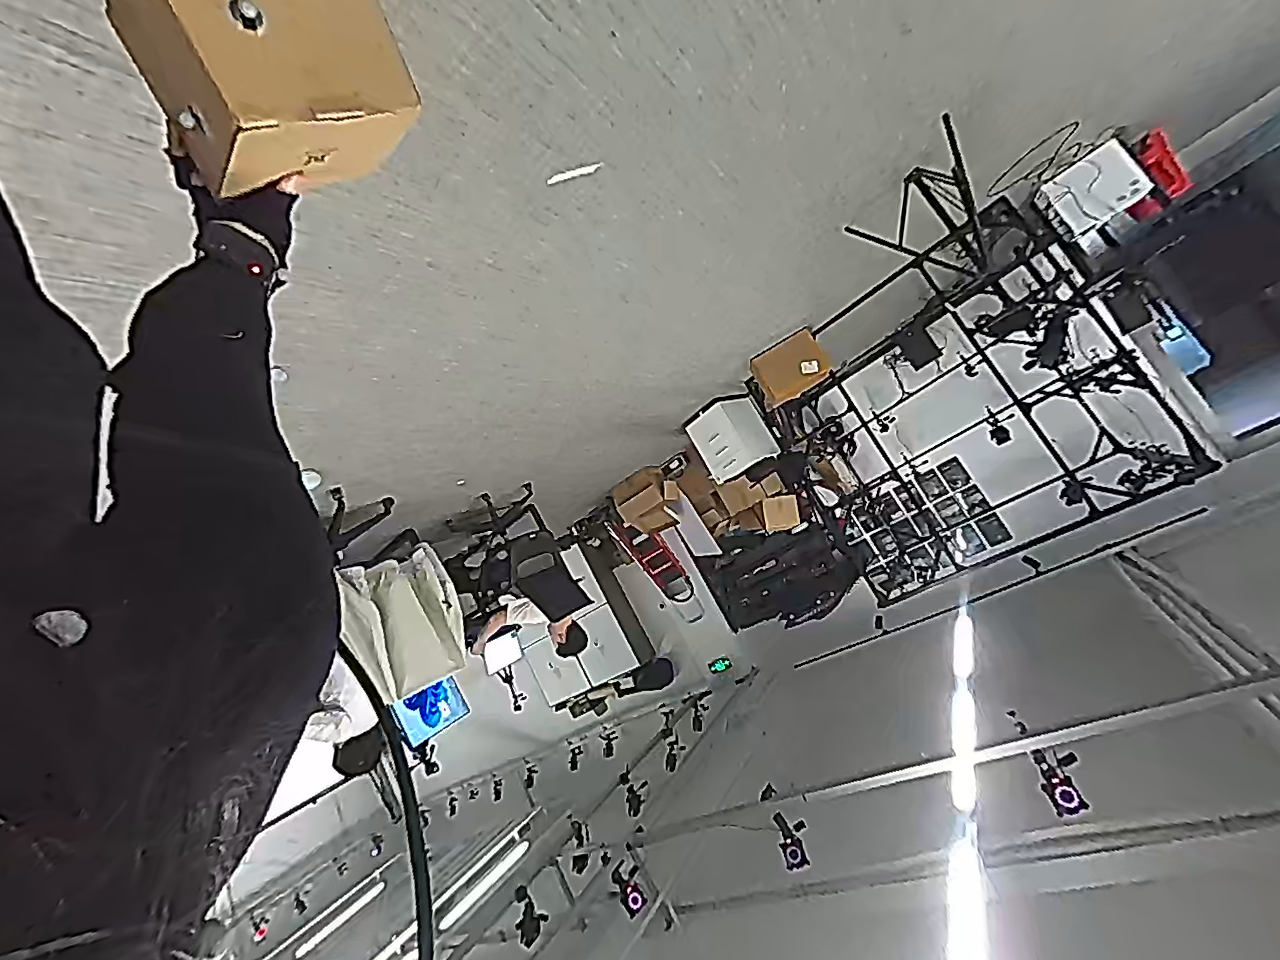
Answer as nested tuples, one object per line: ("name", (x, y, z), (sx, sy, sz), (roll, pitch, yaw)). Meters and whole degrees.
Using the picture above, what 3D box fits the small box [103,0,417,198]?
("small box", (-0.348, -0.390, 0.499), (0.179, 0.176, 0.168), (3, -150, 45))
